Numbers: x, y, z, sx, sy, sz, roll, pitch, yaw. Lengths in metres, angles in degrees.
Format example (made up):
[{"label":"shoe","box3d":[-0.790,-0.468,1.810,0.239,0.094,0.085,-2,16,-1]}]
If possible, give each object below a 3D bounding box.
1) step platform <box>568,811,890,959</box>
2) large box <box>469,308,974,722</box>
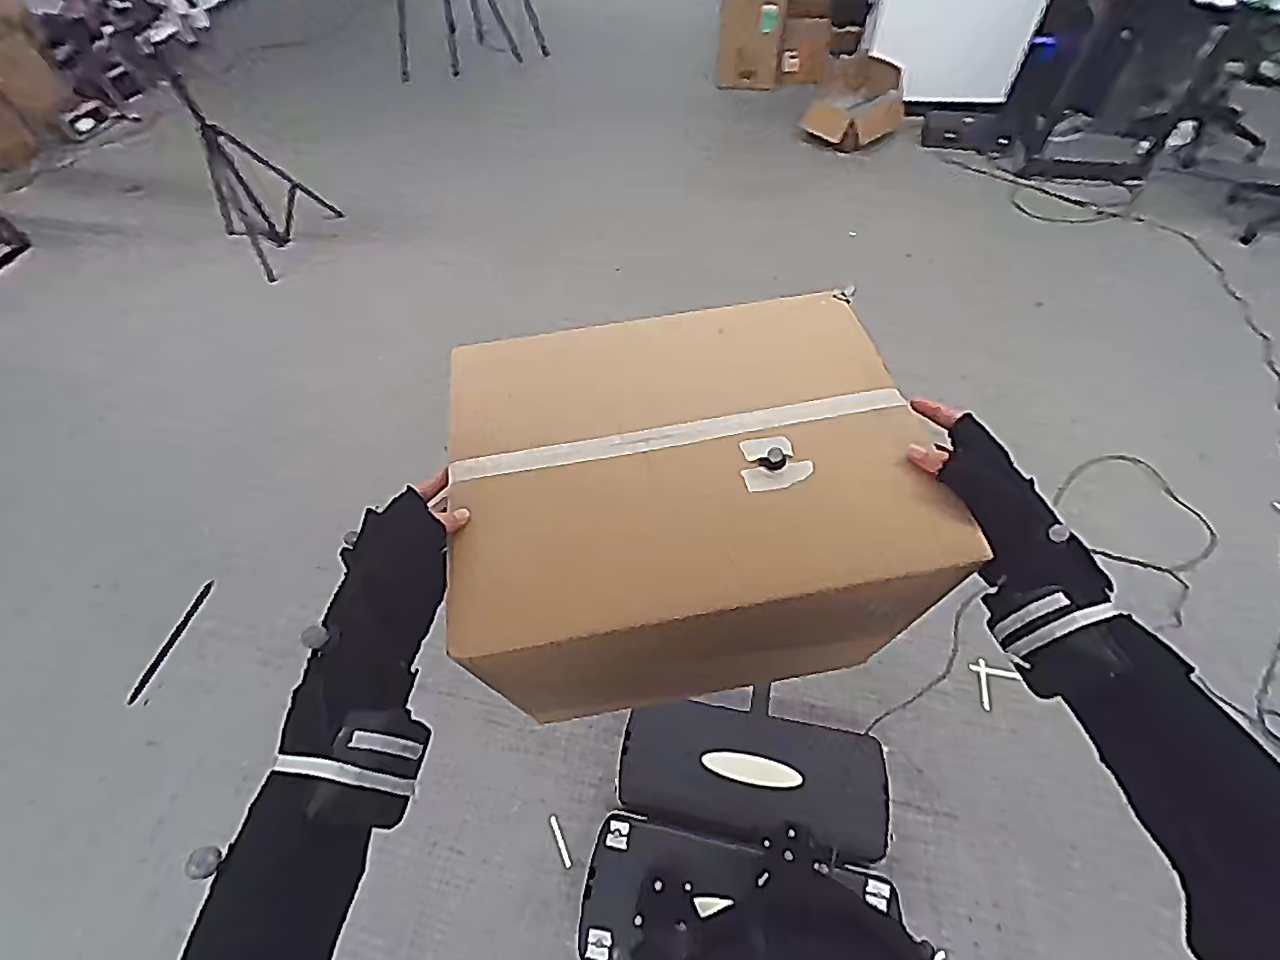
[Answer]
[{"label":"step platform","box3d":[0.187,0.972,1.210,0.684,0.204,0.286,6,57,10]},{"label":"large box","box3d":[0.048,0.052,0.614,0.408,0.320,0.320,-9,58,-4]}]
